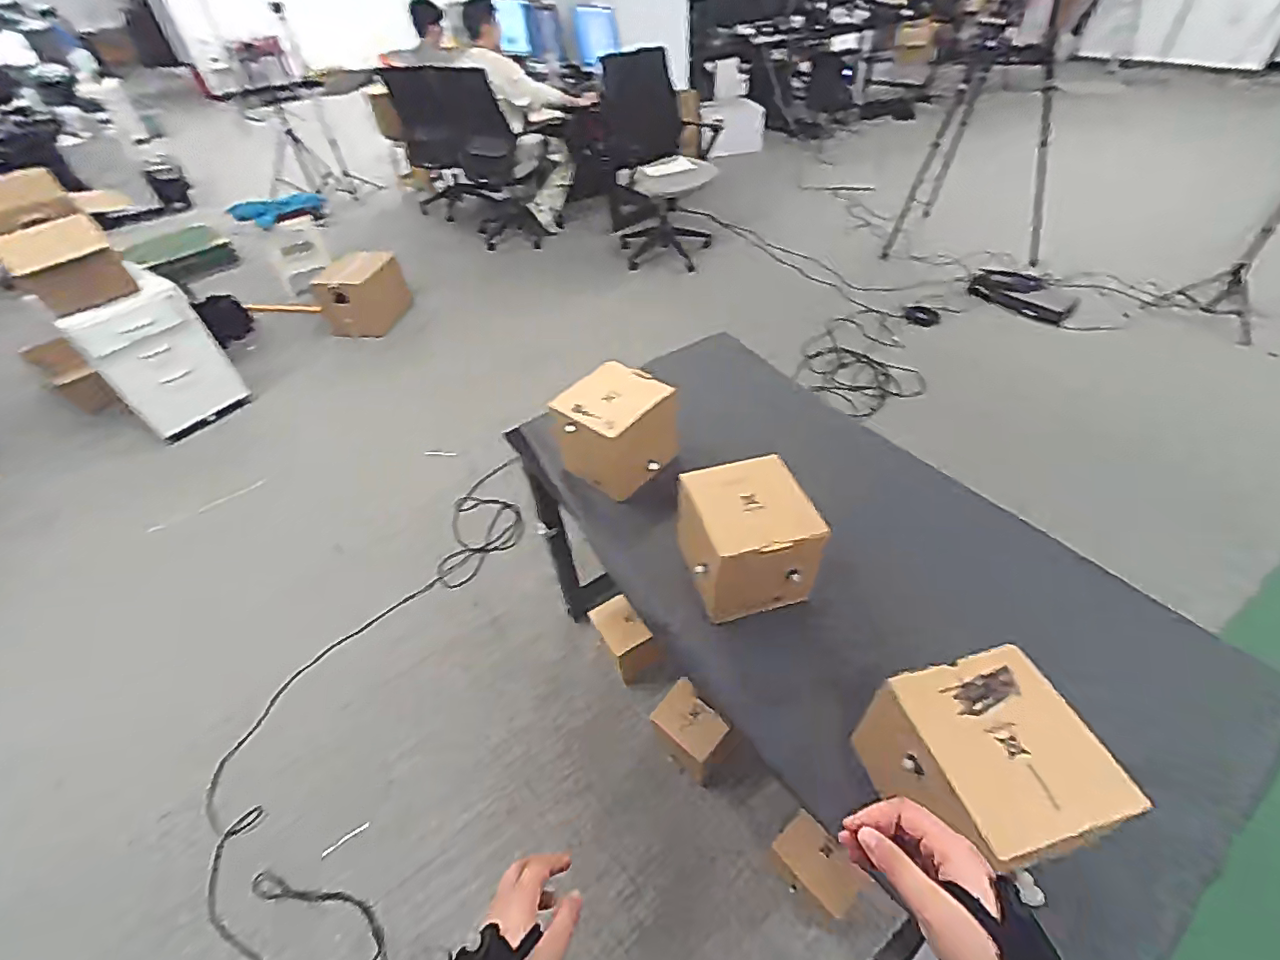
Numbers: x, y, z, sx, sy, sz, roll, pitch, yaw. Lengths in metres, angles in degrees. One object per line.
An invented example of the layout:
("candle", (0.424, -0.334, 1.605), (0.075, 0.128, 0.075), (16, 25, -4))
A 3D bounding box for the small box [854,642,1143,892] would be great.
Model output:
("small box", (0.365, 0.314, 0.597), (0.168, 0.176, 0.179), (-12, 44, -9))

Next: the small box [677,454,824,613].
("small box", (0.162, 0.089, 0.852), (0.168, 0.176, 0.179), (-12, 43, -10))

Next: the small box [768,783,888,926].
("small box", (0.389, 0.797, 1.148), (0.179, 0.176, 0.168), (-33, 51, -25))

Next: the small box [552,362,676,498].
("small box", (-0.046, -0.098, 1.059), (0.168, 0.176, 0.179), (30, 55, 31))

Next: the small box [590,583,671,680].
("small box", (-0.022, 0.439, 1.556), (0.179, 0.176, 0.168), (-25, 48, -19))
